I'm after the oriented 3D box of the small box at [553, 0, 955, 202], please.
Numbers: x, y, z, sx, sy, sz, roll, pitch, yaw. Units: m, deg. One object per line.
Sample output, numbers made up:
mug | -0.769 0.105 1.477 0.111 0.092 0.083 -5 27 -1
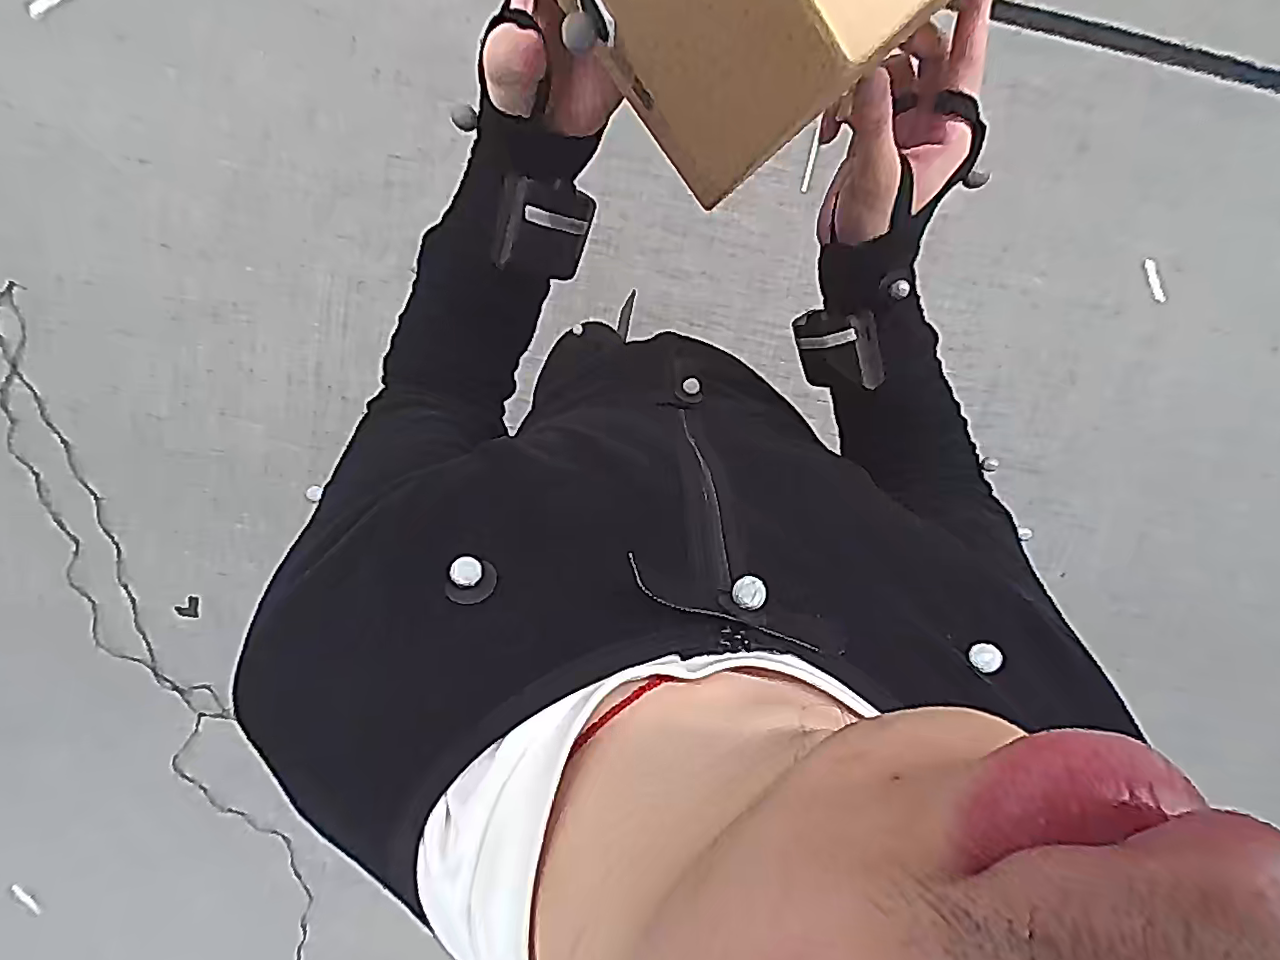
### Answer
small box | 0.063 -0.247 0.208 0.179 0.176 0.168 -41 105 5
